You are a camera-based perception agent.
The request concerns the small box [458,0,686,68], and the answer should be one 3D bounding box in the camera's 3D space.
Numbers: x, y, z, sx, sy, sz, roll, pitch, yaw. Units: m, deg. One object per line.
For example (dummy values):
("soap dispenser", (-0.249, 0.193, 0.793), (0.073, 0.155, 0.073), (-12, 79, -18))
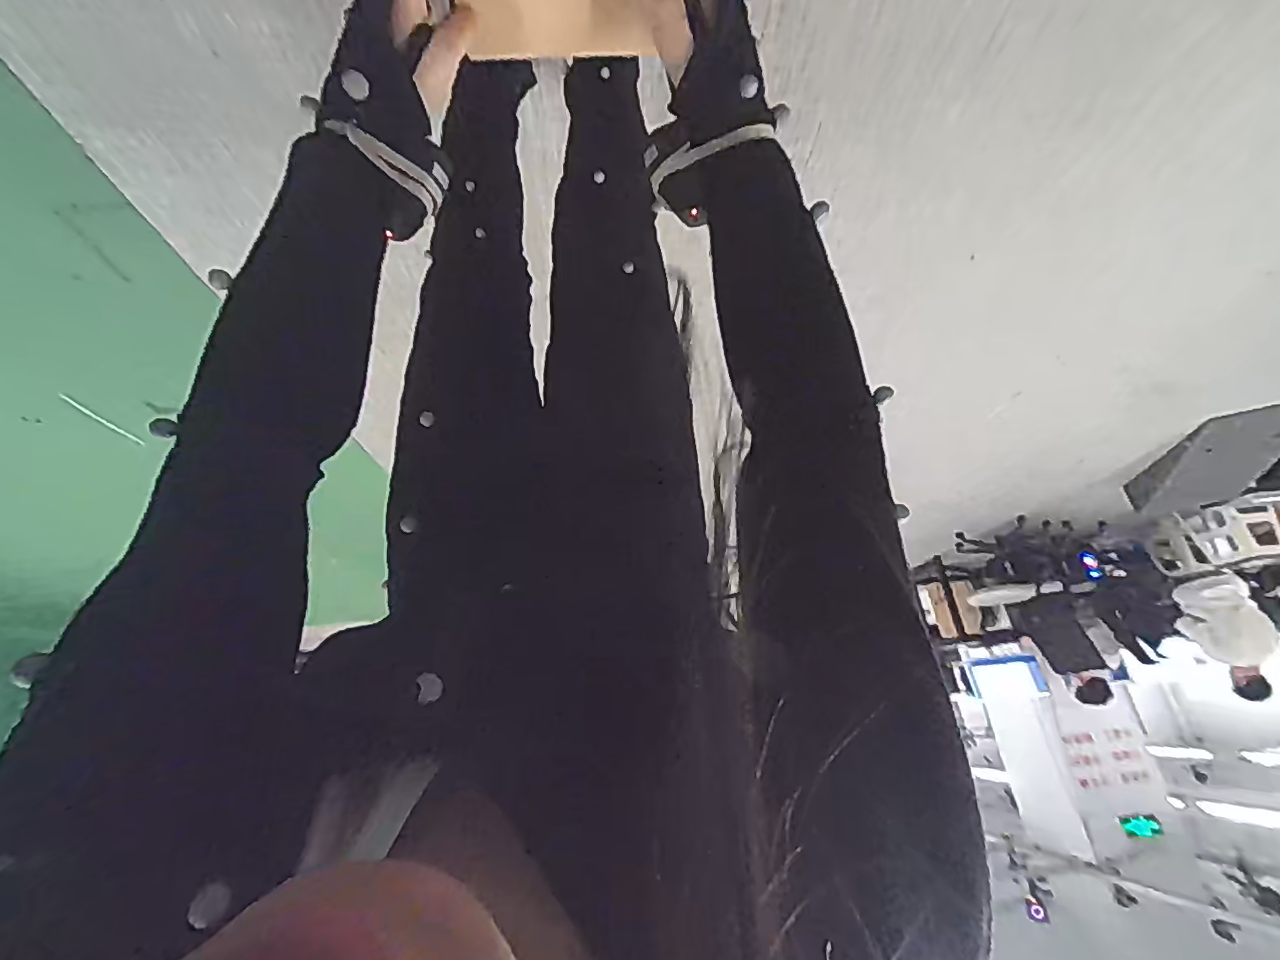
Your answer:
("small box", (-0.051, -0.431, 0.372), (0.168, 0.176, 0.179), (-4, 160, -3))
